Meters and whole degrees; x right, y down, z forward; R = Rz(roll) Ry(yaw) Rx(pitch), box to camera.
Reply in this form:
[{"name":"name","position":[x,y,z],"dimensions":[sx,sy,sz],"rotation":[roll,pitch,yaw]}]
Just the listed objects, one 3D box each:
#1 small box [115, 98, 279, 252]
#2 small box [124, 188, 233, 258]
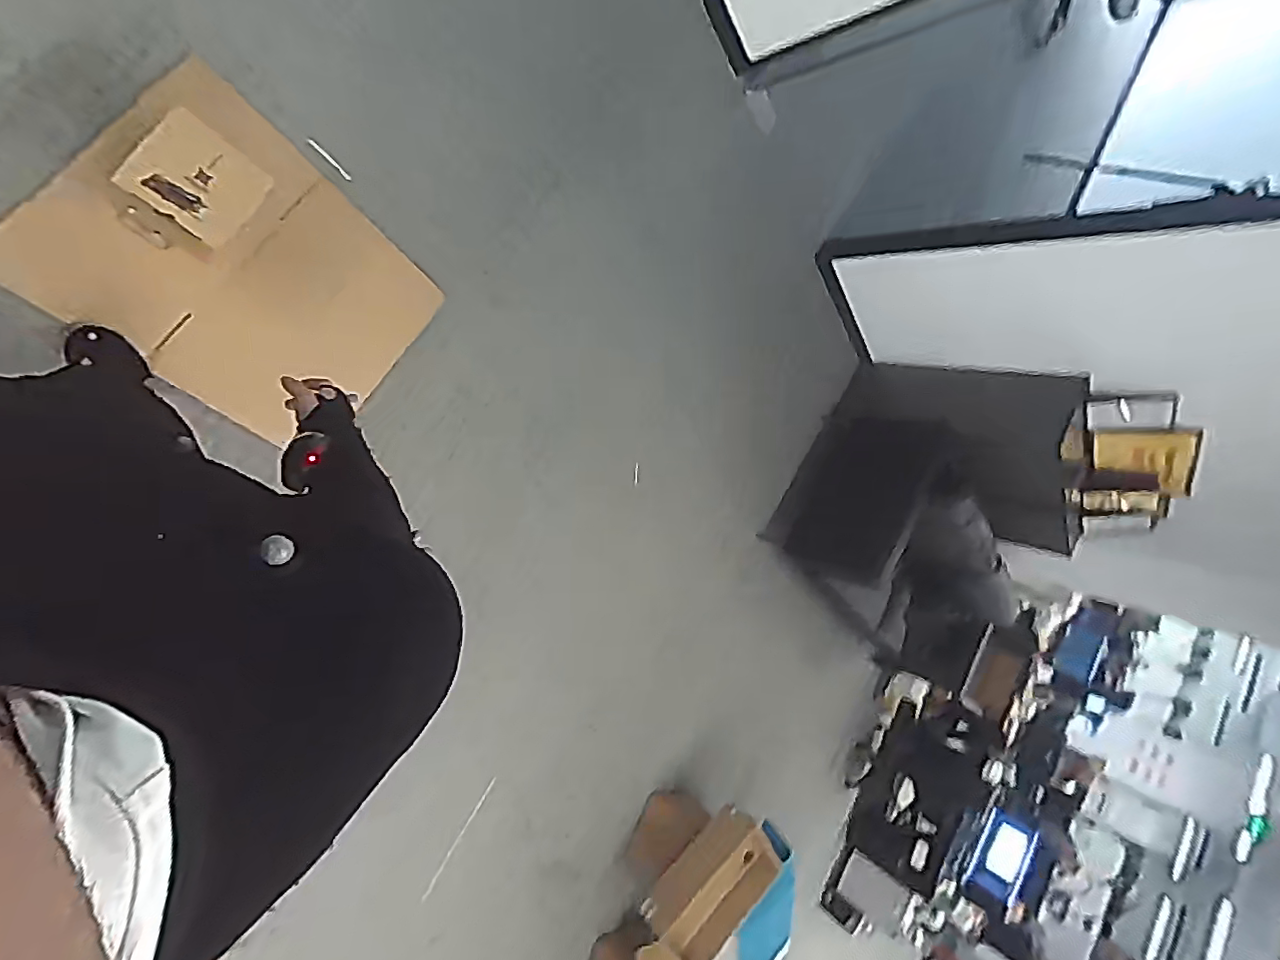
[{"name":"small box","position":[-0.812,-0.548,1.000],"dimensions":[0.168,0.176,0.179],"rotation":[39,75,-42]},{"name":"small box","position":[-0.919,-0.586,1.118],"dimensions":[0.168,0.176,0.179],"rotation":[35,79,-43]}]
